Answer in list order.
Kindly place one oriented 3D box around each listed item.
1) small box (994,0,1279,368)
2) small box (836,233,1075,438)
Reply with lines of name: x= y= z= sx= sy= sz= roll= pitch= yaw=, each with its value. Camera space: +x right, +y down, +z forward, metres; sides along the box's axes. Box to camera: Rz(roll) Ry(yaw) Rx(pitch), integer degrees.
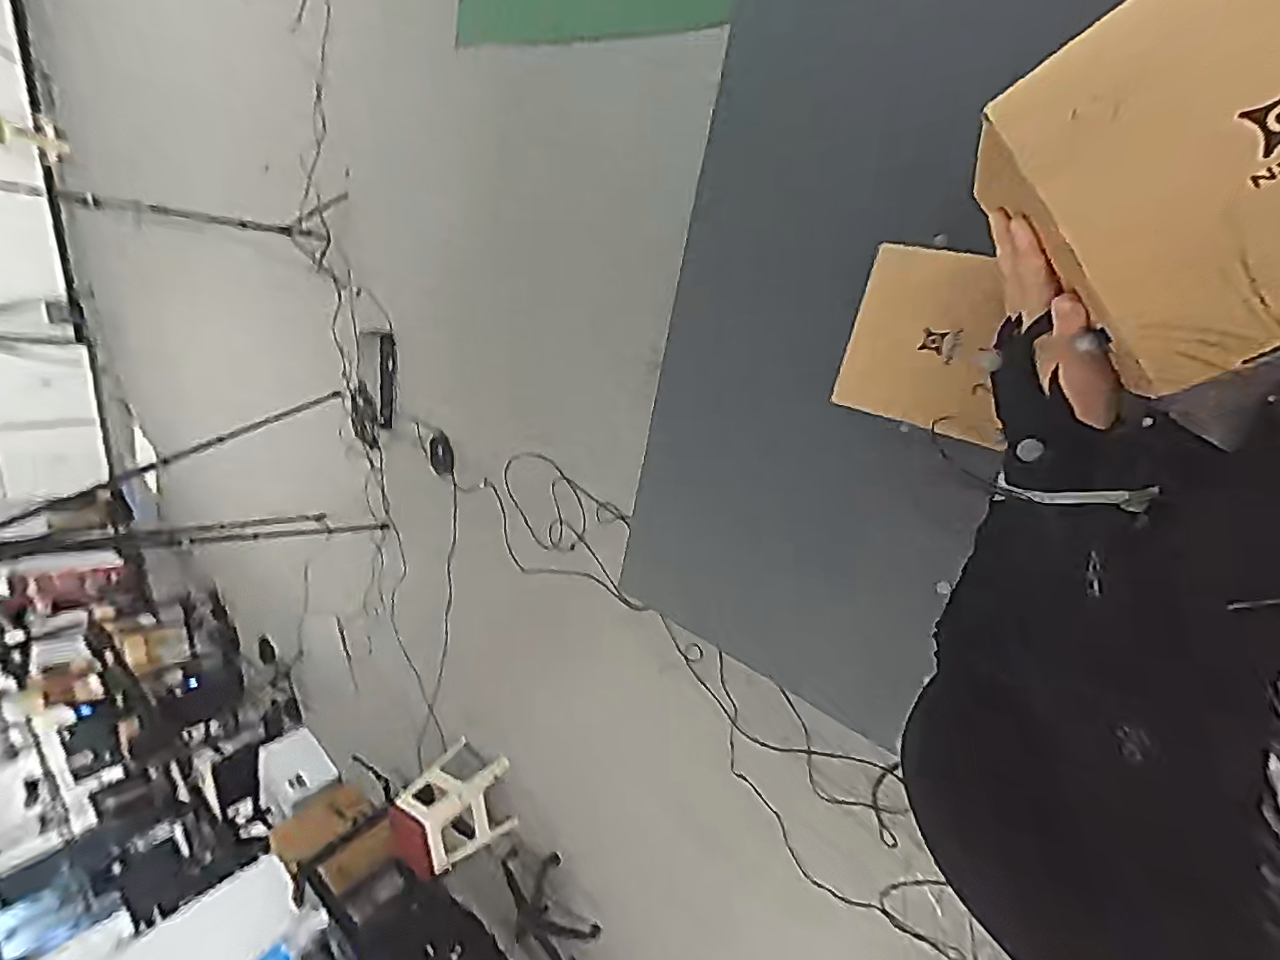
small box: x=0.319 y=-0.178 z=0.290 sx=0.168 sy=0.176 sz=0.179 roll=-31 pitch=88 yaw=33
small box: x=0.344 y=-0.155 z=0.582 sx=0.179 sy=0.176 sz=0.168 roll=24 pitch=115 yaw=32
